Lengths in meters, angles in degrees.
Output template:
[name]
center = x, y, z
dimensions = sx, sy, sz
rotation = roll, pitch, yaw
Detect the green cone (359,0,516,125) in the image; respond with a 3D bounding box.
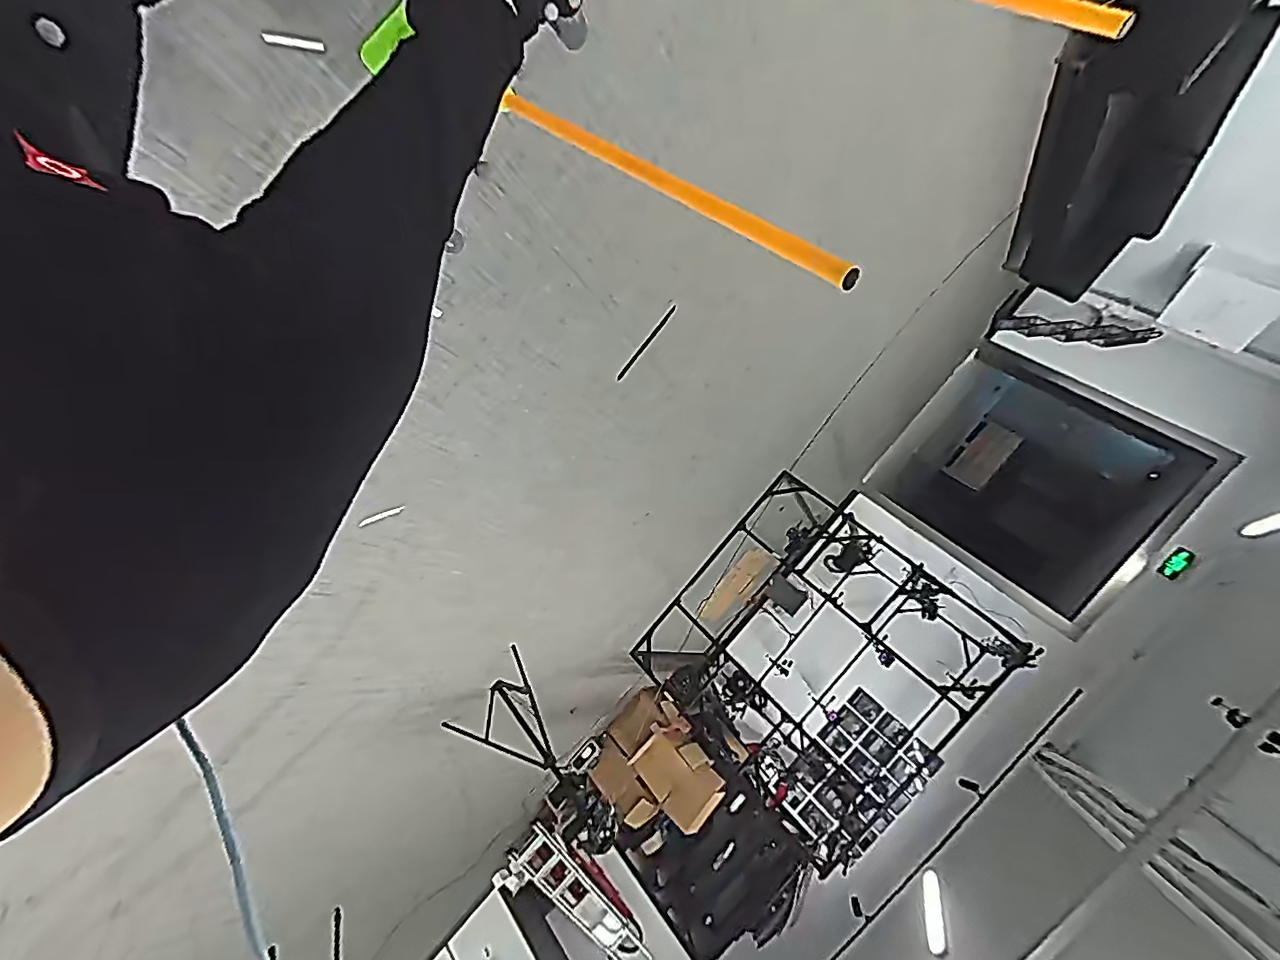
[green cone]
center = -0.377, -0.839, 1.119
dimensions = 0.200, 0.368, 0.202
rotation = -48, 152, 0
